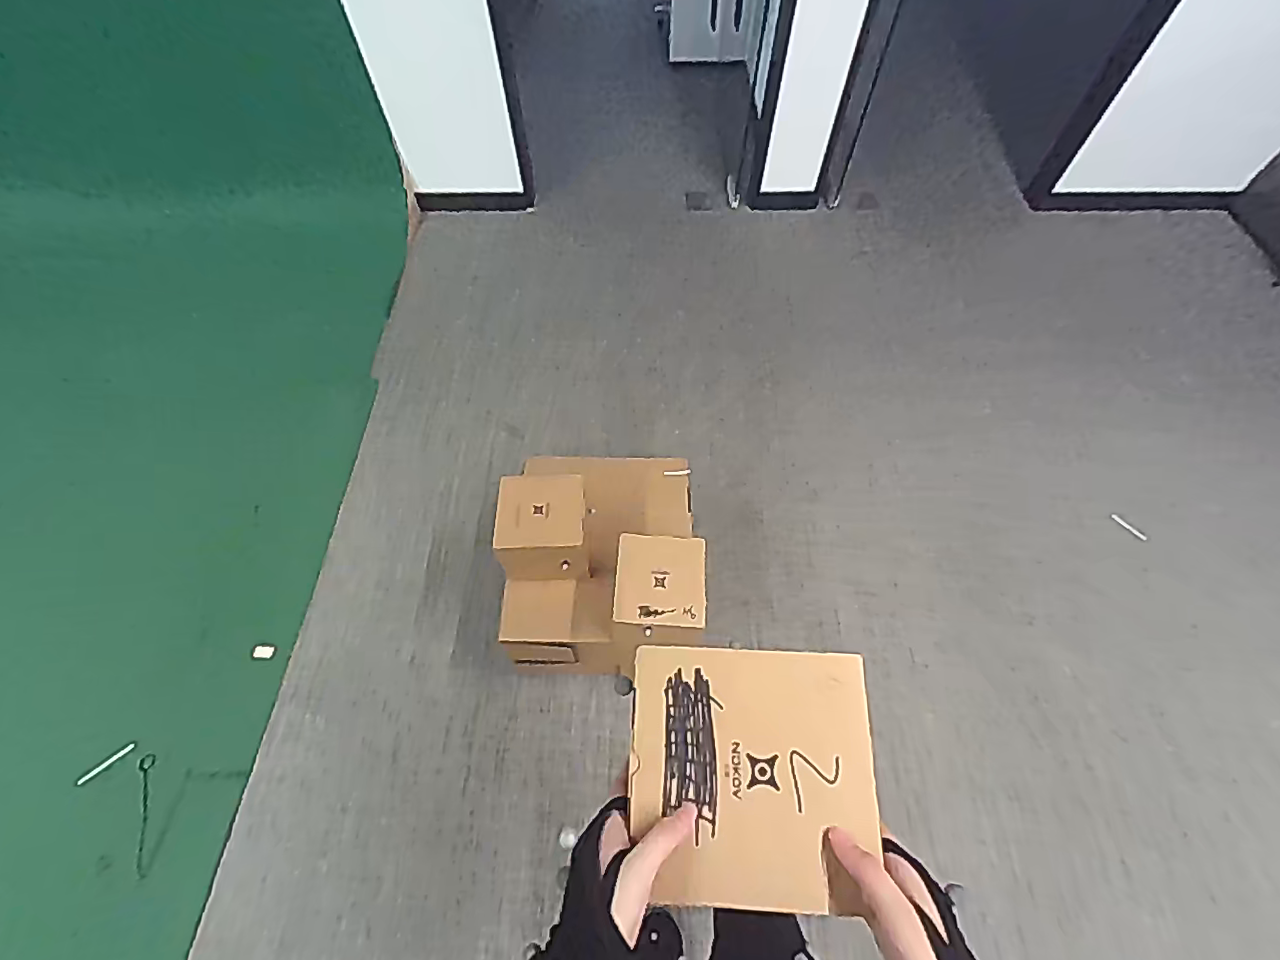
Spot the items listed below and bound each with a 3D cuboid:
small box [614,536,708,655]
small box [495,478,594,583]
[{"bbox_3d":[0.040,0.229,1.059,0.168,0.176,0.179,4,58,2],"label":"small box"},{"bbox_3d":[-0.190,0.109,1.138,0.179,0.176,0.168,-2,57,1],"label":"small box"}]
